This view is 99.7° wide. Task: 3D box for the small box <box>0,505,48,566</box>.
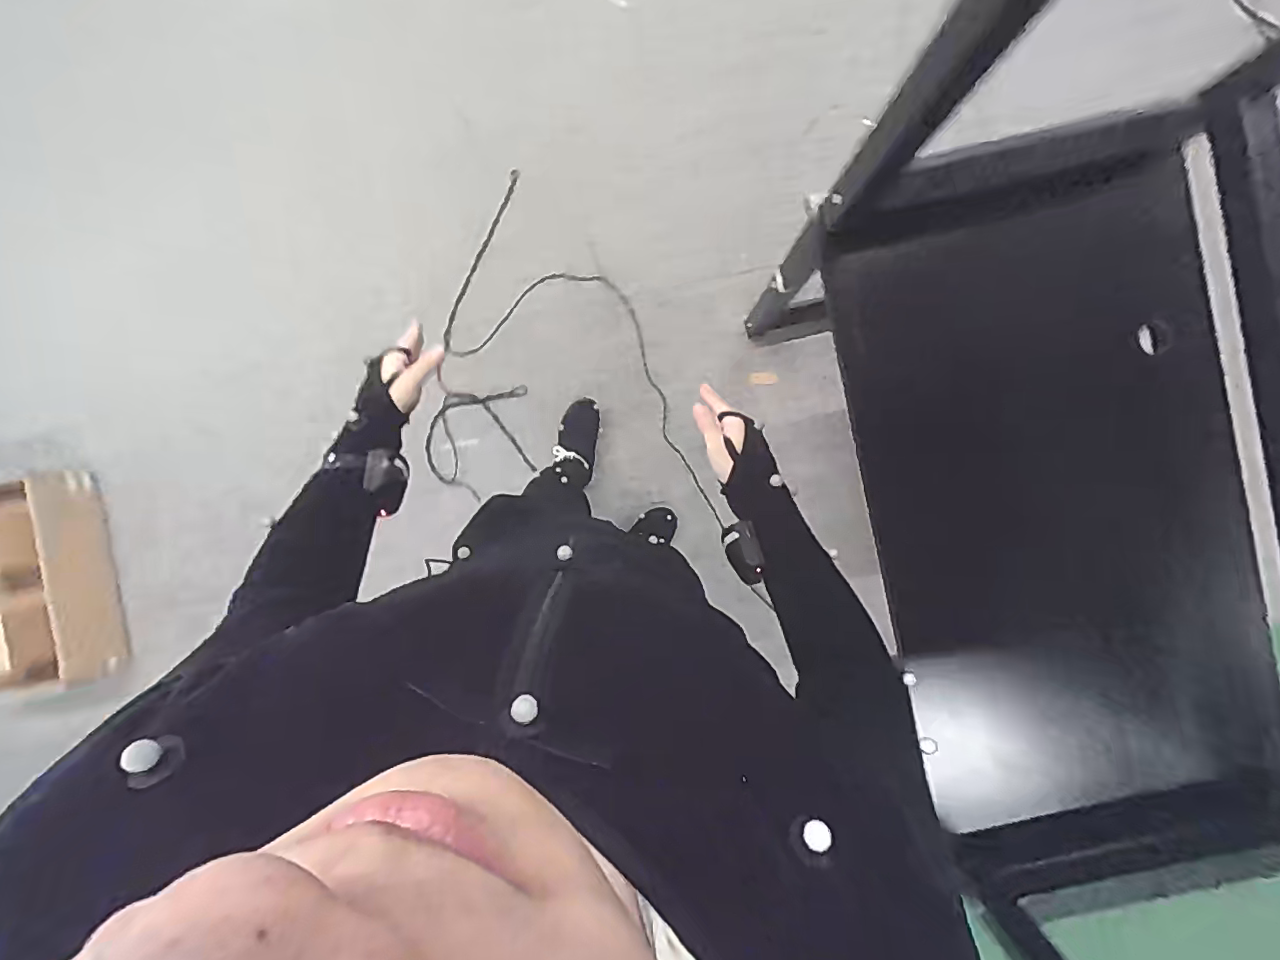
[{"bbox_3d":[-1.871,0.167,1.554,0.179,0.176,0.168,-8,92,2],"label":"small box"}]
